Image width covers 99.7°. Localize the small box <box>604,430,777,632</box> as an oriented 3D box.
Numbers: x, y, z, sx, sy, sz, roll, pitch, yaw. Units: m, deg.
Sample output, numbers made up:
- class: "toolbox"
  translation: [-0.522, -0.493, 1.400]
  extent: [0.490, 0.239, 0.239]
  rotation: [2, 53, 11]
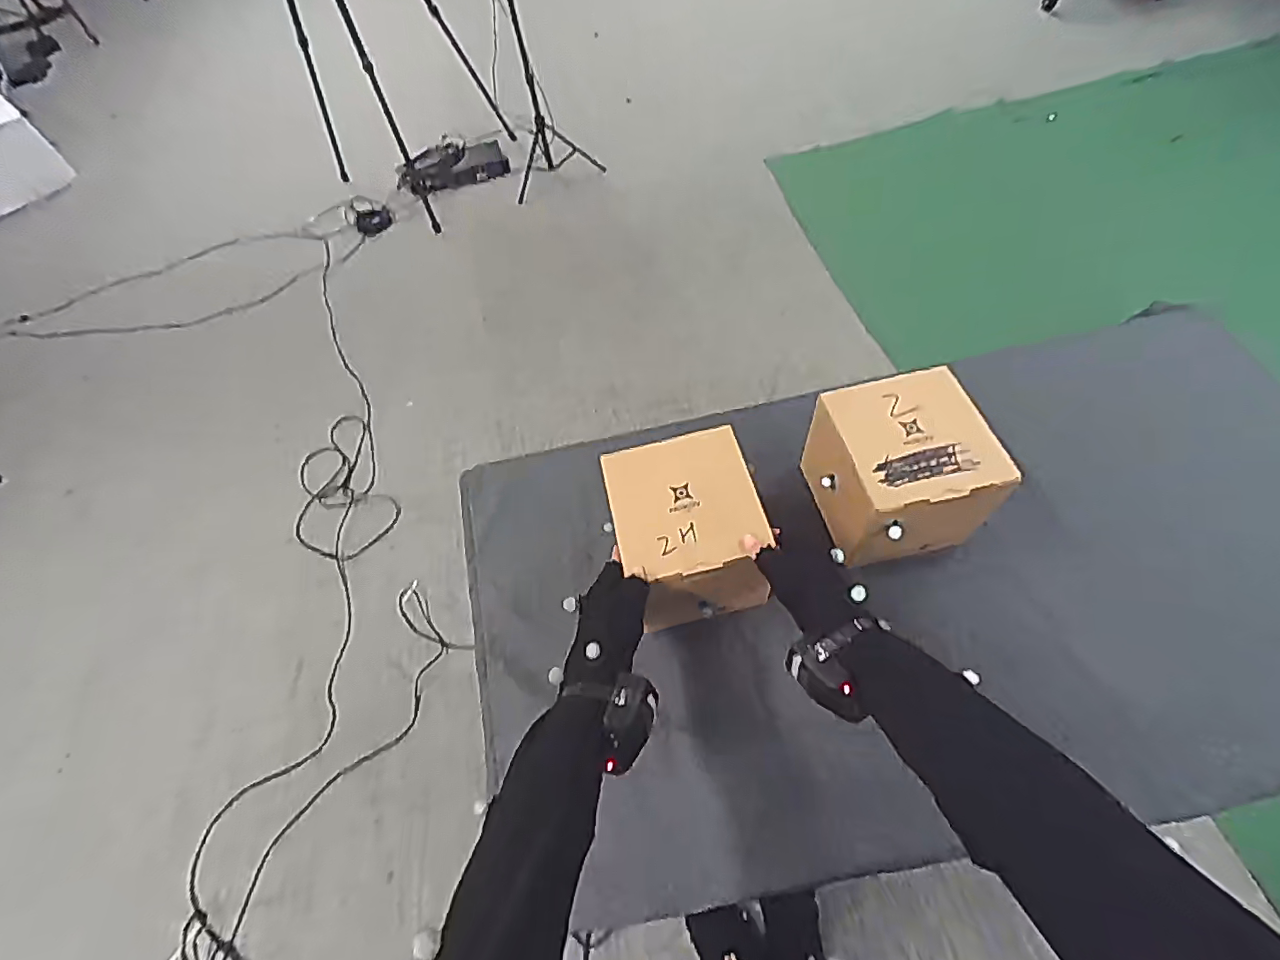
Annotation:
- class: "small box"
  translation: [0.059, 0.068, 0.678]
  extent: [0.168, 0.176, 0.179]
  rotation: [-14, 57, 0]
